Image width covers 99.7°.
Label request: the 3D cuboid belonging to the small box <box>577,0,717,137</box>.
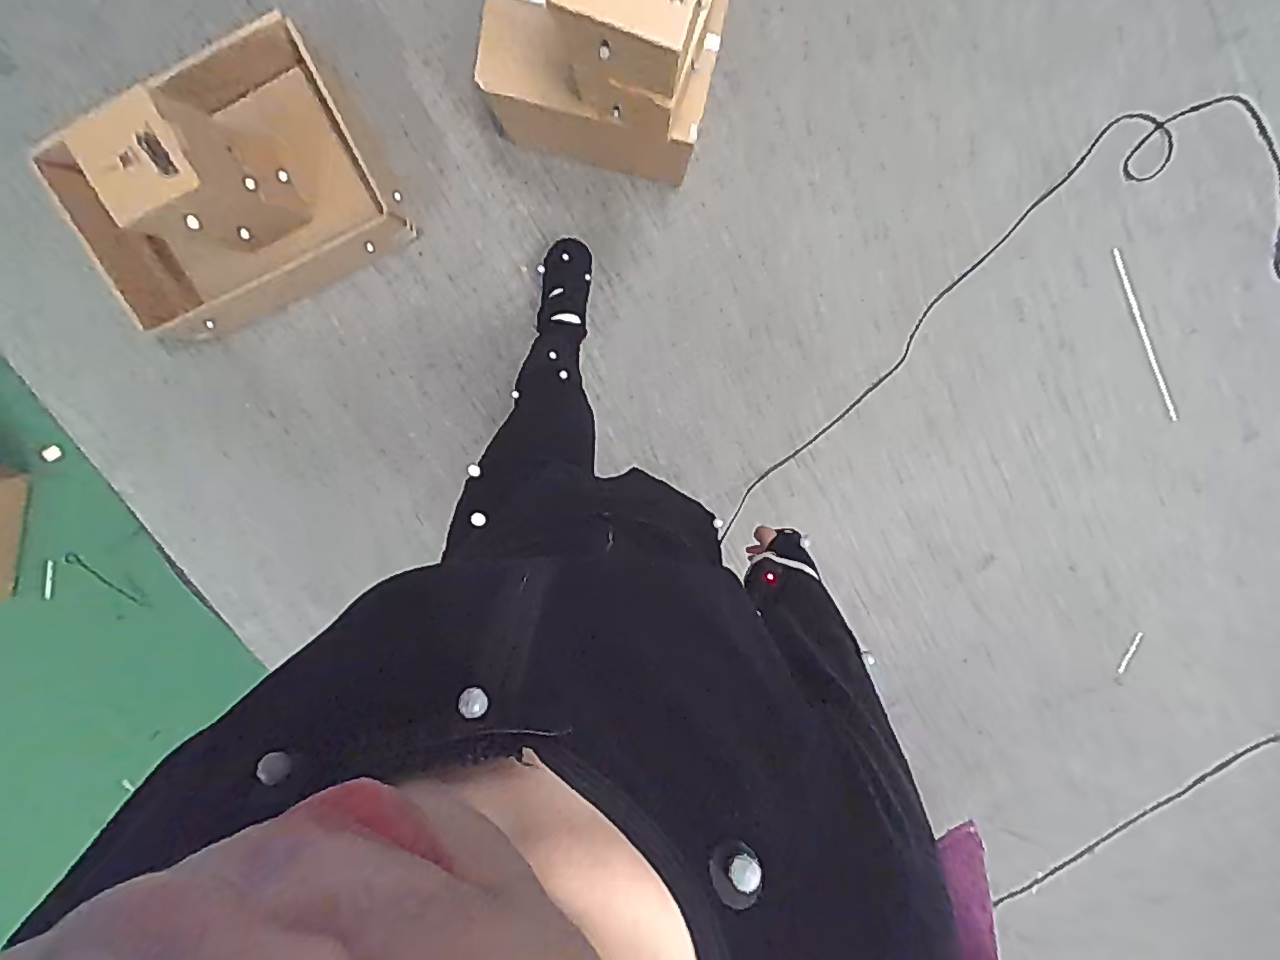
[{"bbox_3d":[0.008,-0.692,0.861,0.168,0.176,0.179,21,107,-7],"label":"small box"}]

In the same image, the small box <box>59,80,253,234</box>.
[{"bbox_3d":[-0.856,-0.573,0.984,0.179,0.176,0.168,-22,105,7],"label":"small box"}]

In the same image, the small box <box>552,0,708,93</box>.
[{"bbox_3d":[-0.004,-0.646,0.704,0.179,0.176,0.168,18,108,-5],"label":"small box"}]

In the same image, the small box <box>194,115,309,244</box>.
[{"bbox_3d":[-0.856,-0.619,1.142,0.179,0.176,0.168,-23,105,6],"label":"small box"}]
